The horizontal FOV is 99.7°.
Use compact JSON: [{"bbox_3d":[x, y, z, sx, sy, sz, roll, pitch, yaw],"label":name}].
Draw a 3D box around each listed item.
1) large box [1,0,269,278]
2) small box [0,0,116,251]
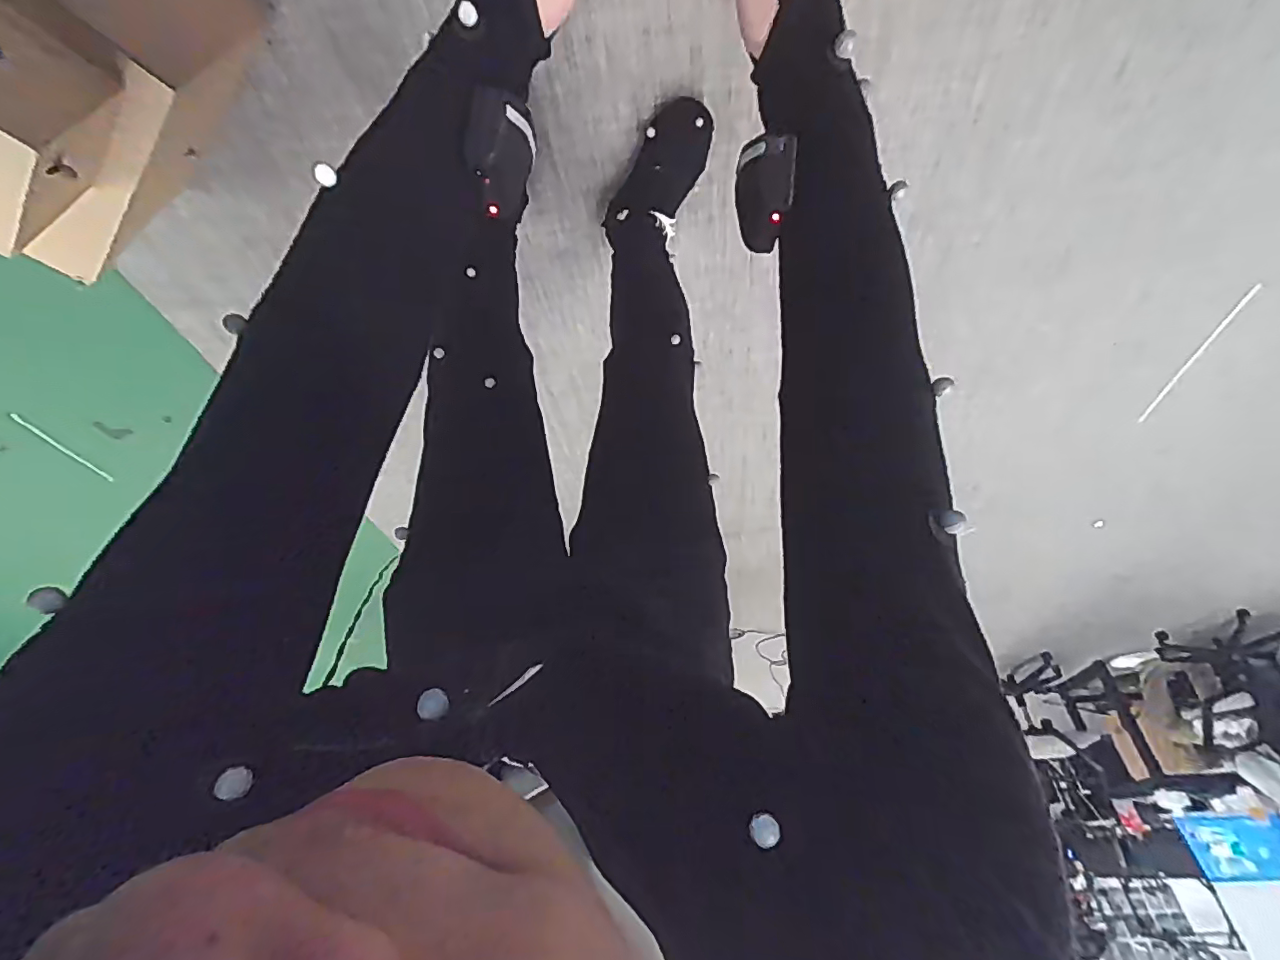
[{"bbox_3d":[-0.791,-0.578,0.732,0.408,0.320,0.320,-27,136,31],"label":"large box"},{"bbox_3d":[-0.708,-0.394,0.569,0.179,0.176,0.168,-28,137,31],"label":"small box"}]
